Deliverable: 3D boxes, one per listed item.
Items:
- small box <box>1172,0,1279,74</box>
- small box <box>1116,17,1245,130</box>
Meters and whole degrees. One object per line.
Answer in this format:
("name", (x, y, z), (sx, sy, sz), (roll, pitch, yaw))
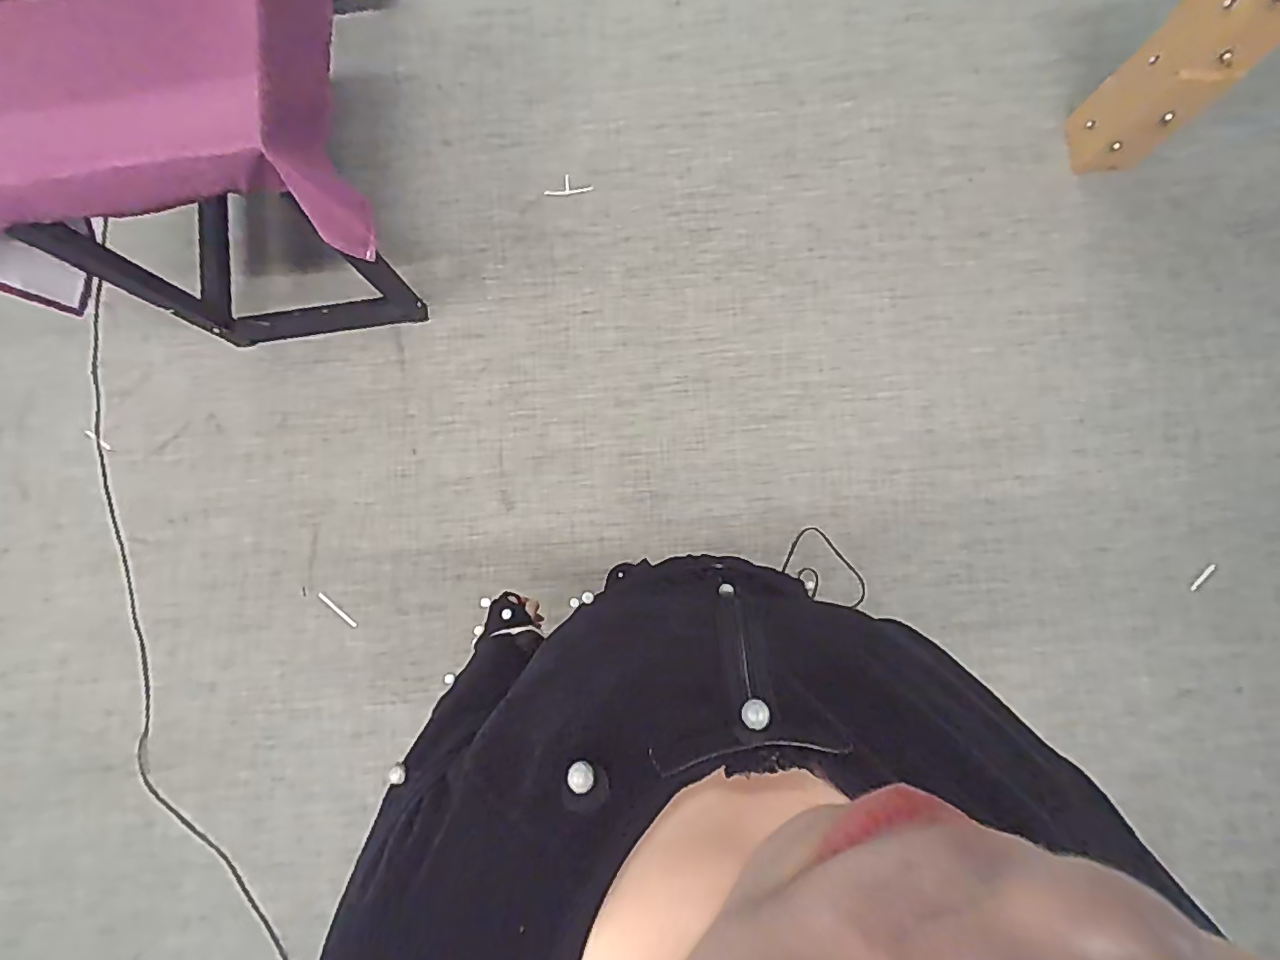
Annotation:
("small box", (1.395, -1.093, 1.255), (0.168, 0.176, 0.179), (2, 83, 1))
("small box", (1.398, -1.059, 1.414), (0.168, 0.176, 0.179), (-1, 82, 2))
